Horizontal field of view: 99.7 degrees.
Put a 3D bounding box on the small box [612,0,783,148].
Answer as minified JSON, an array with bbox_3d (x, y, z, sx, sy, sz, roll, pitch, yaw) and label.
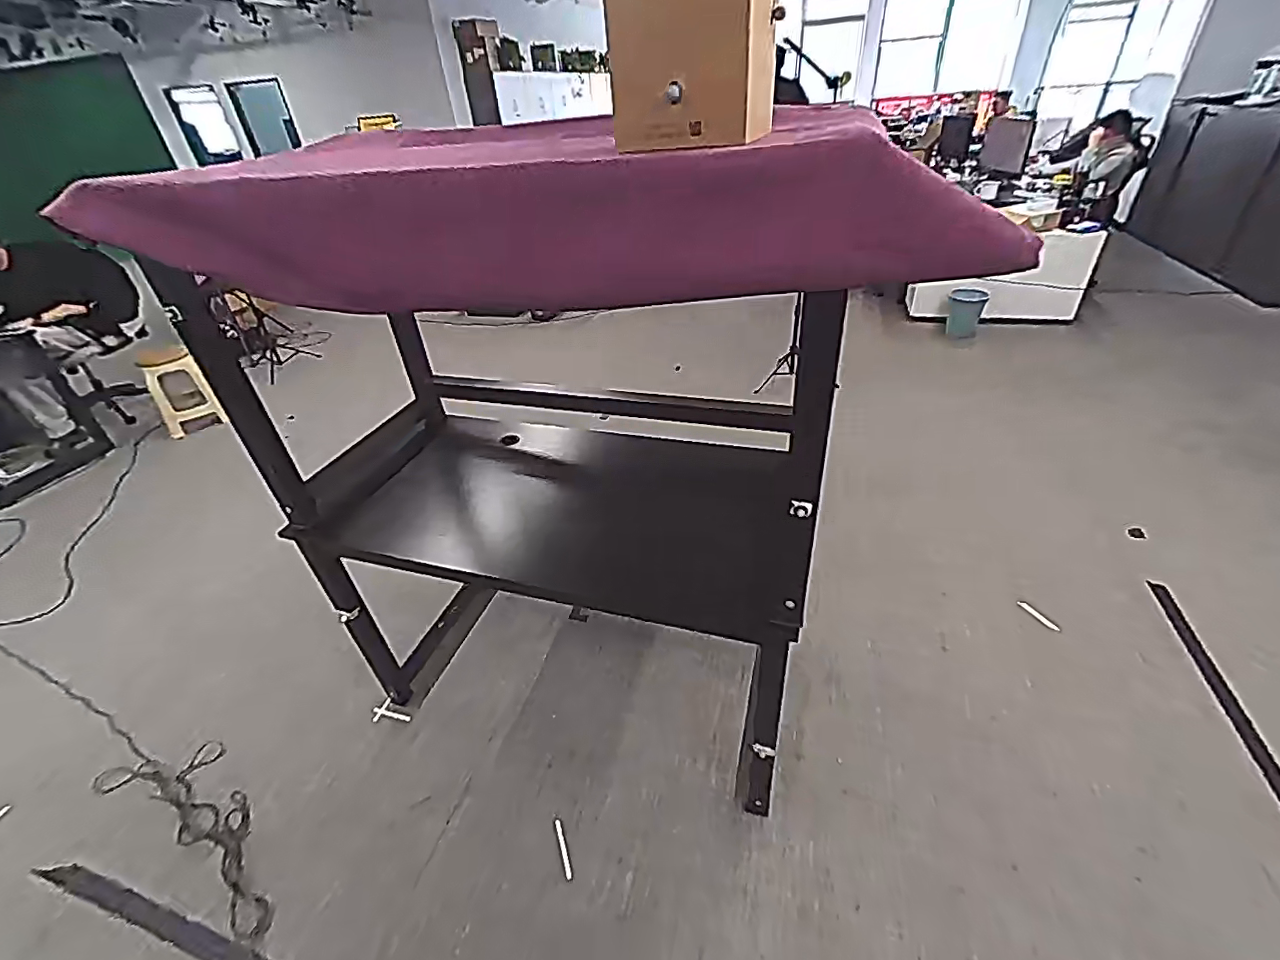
[{"bbox_3d":[0.073,-0.511,0.661,0.168,0.176,0.179,9,37,20],"label":"small box"}]
